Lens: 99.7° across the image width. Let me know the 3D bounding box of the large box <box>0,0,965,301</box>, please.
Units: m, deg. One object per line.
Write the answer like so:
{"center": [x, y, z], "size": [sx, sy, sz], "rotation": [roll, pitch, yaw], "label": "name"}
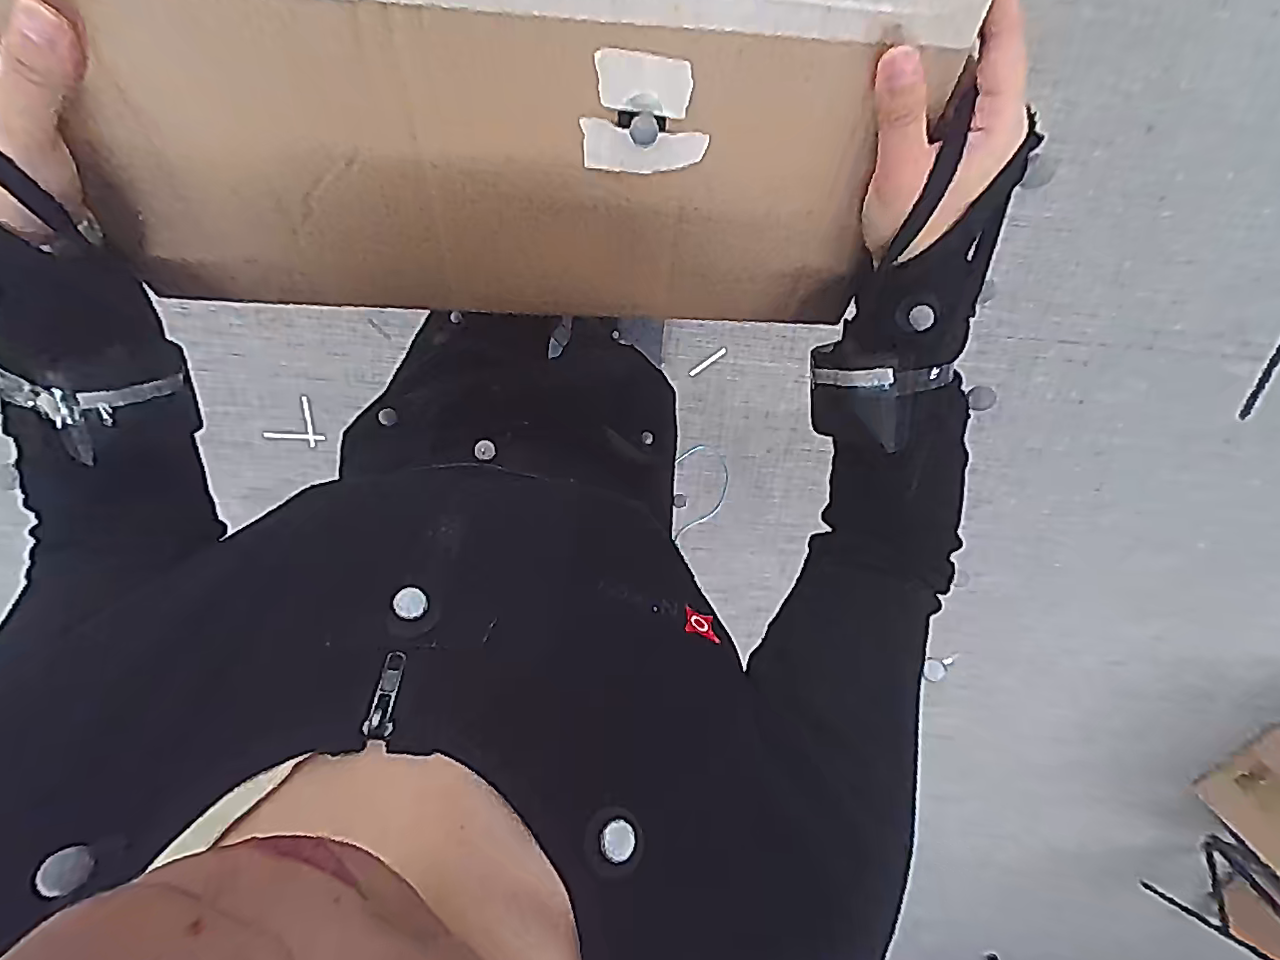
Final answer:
{"center": [-0.070, -0.322, 0.296], "size": [0.408, 0.320, 0.320], "rotation": [-1, 146, -6], "label": "large box"}
